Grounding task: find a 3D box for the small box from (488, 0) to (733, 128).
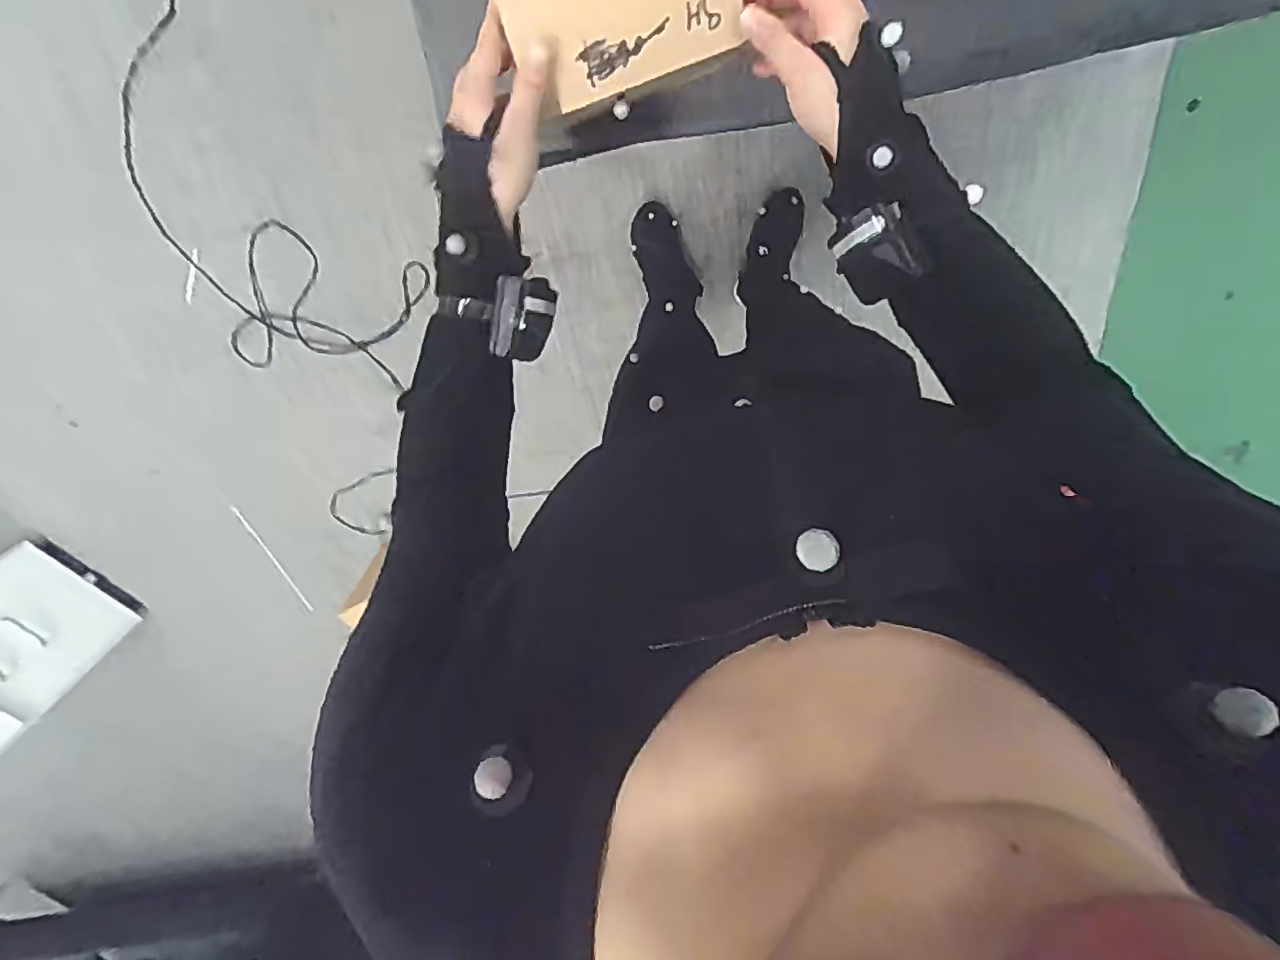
[{"bbox_3d":[-0.034,-0.408,0.433,0.168,0.176,0.179,-15,121,9],"label":"small box"}]
